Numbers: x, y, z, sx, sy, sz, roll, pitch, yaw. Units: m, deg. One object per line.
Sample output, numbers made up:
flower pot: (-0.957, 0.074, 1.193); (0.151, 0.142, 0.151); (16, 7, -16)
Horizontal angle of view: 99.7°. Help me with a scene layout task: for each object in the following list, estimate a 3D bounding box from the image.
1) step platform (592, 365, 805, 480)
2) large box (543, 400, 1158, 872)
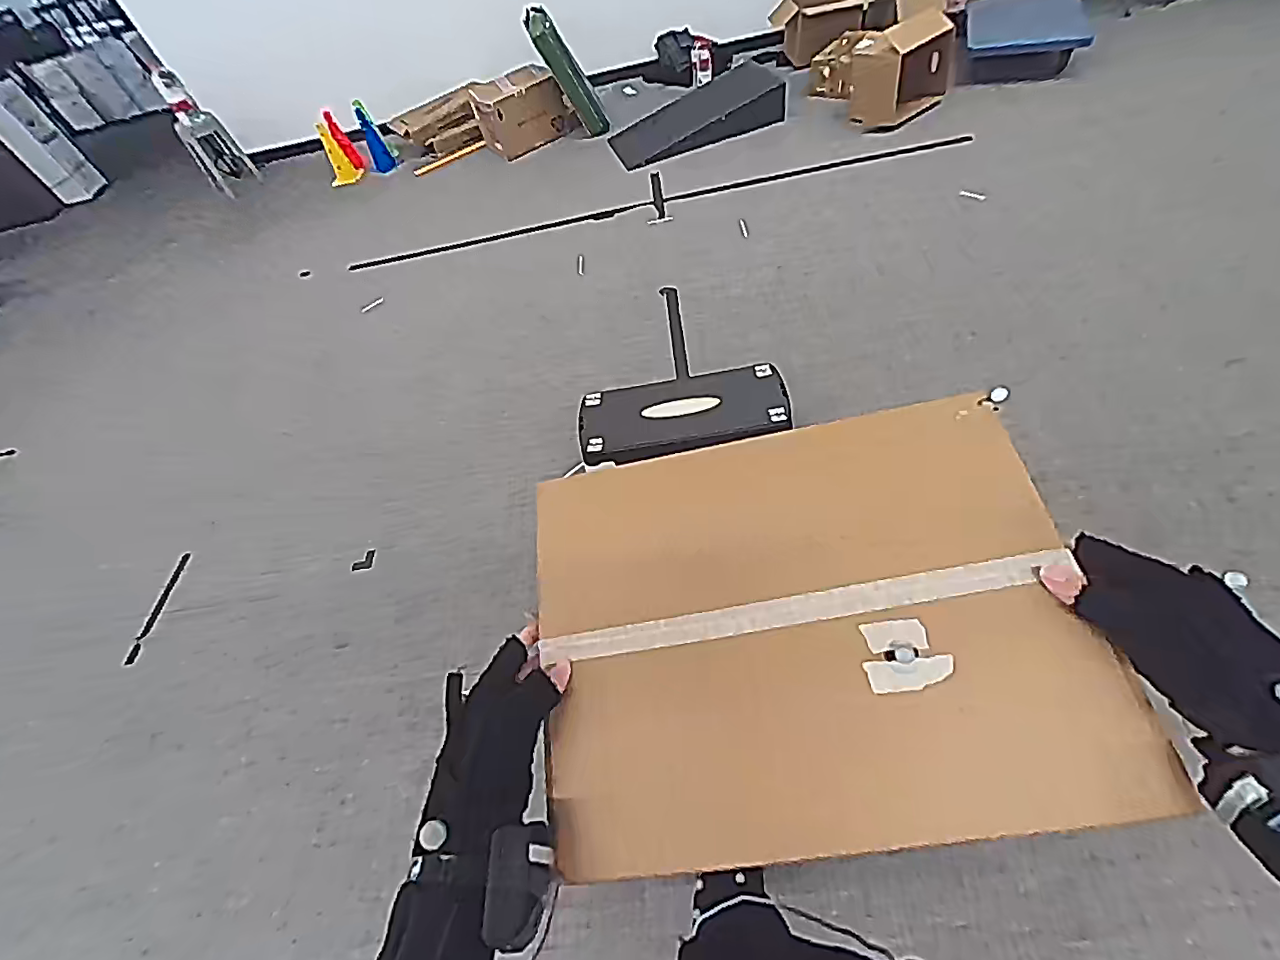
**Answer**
step platform: (0.185, -0.173, 1.783); (0.684, 0.204, 0.286); (-9, 53, 5)
large box: (0.146, 0.169, 0.562); (0.408, 0.320, 0.320); (-12, 62, 7)
